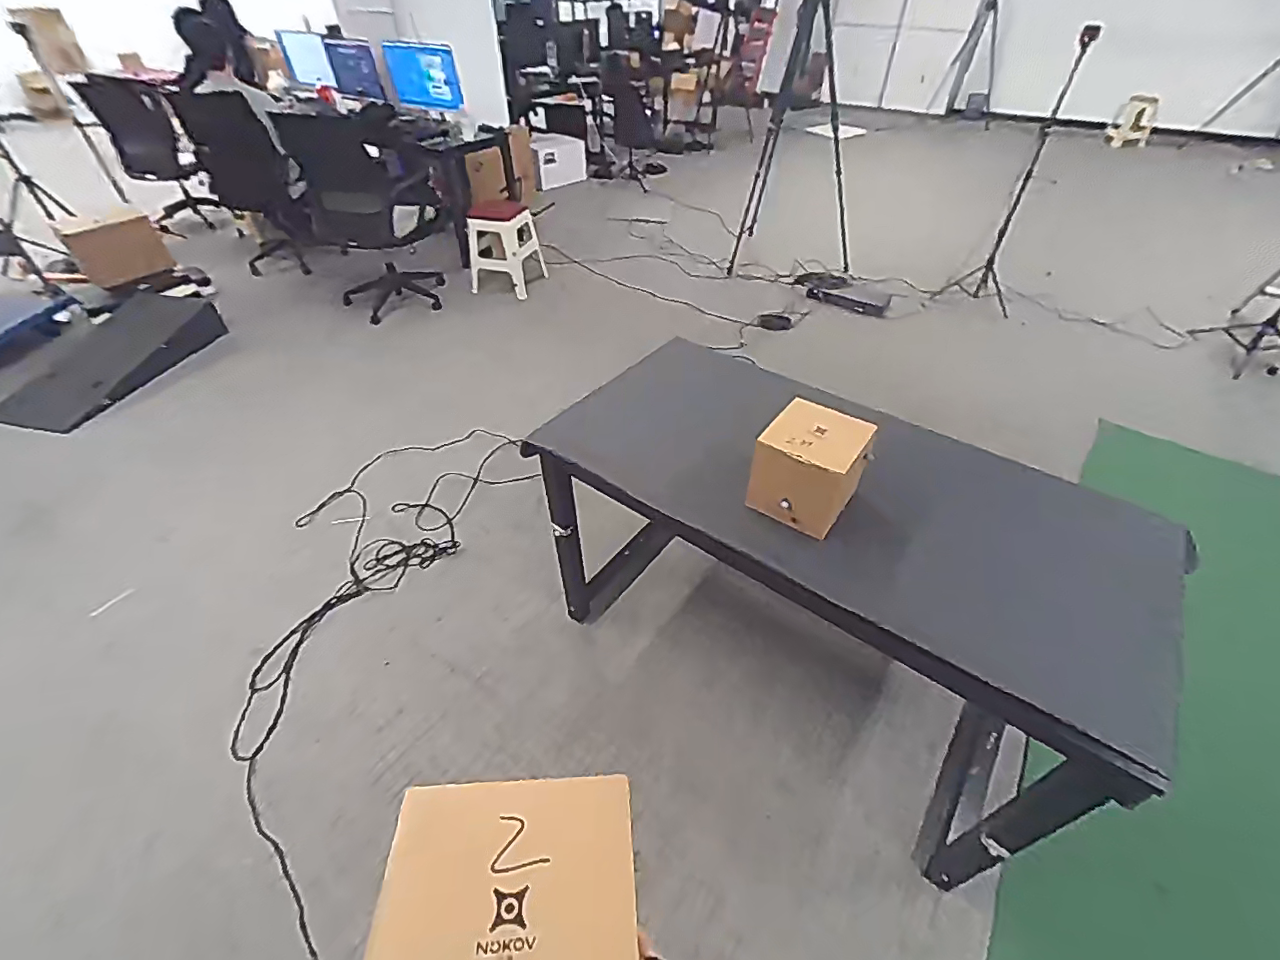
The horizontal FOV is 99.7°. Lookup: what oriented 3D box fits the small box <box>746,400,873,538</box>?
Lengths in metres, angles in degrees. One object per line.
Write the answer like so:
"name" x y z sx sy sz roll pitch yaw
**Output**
"small box" 0.321 -0.023 1.048 0.168 0.176 0.179 27 49 26
